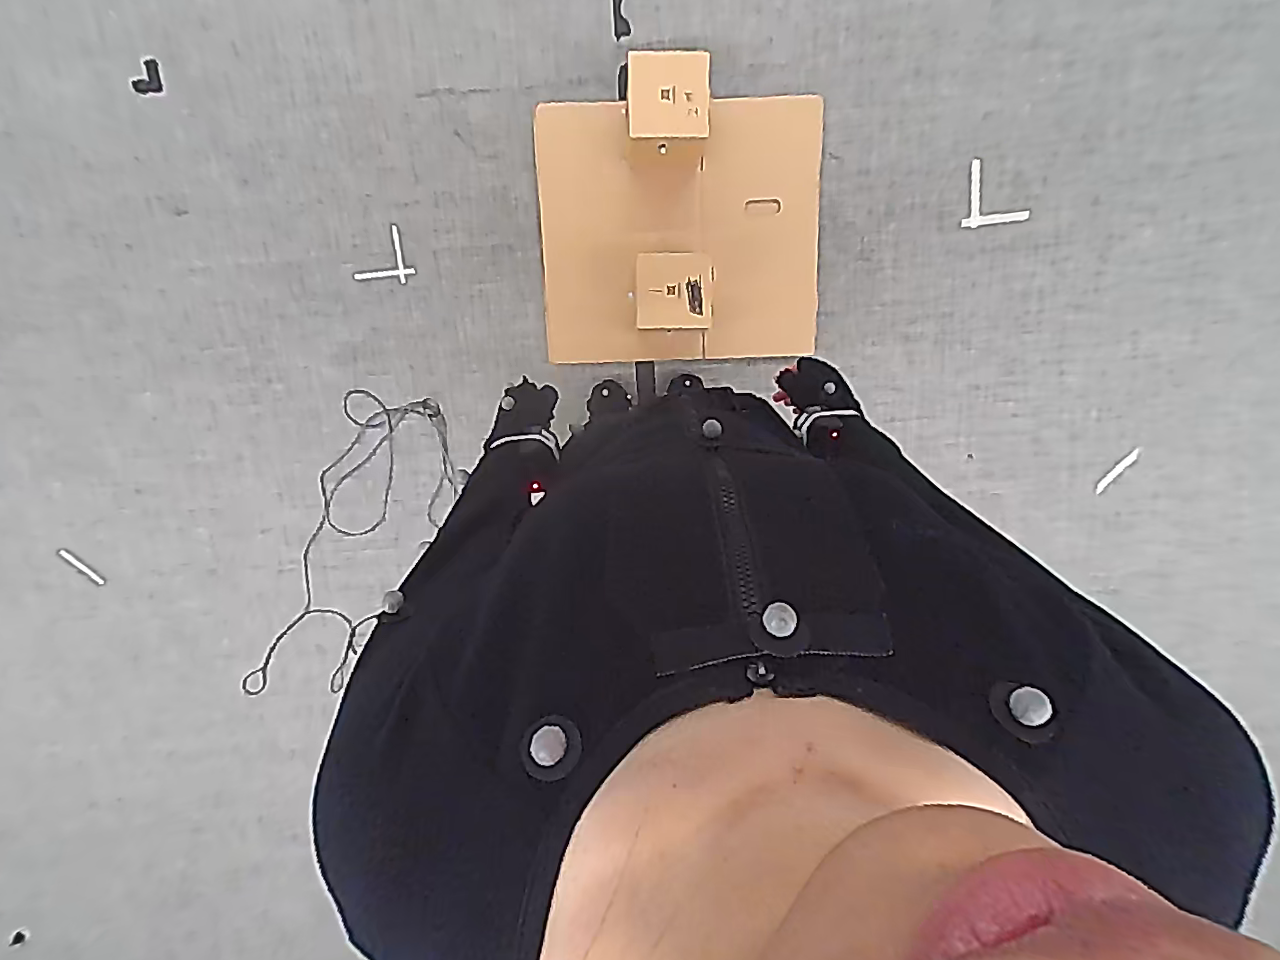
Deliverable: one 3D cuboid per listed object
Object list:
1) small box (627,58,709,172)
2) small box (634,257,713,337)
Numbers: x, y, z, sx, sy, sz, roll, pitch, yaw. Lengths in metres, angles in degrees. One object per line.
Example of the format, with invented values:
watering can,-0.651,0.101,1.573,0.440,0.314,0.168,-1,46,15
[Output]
small box,0.058,-0.822,1.233,0.179,0.176,0.168,-1,101,-2
small box,0.076,-0.439,1.311,0.179,0.176,0.168,-1,101,-1
